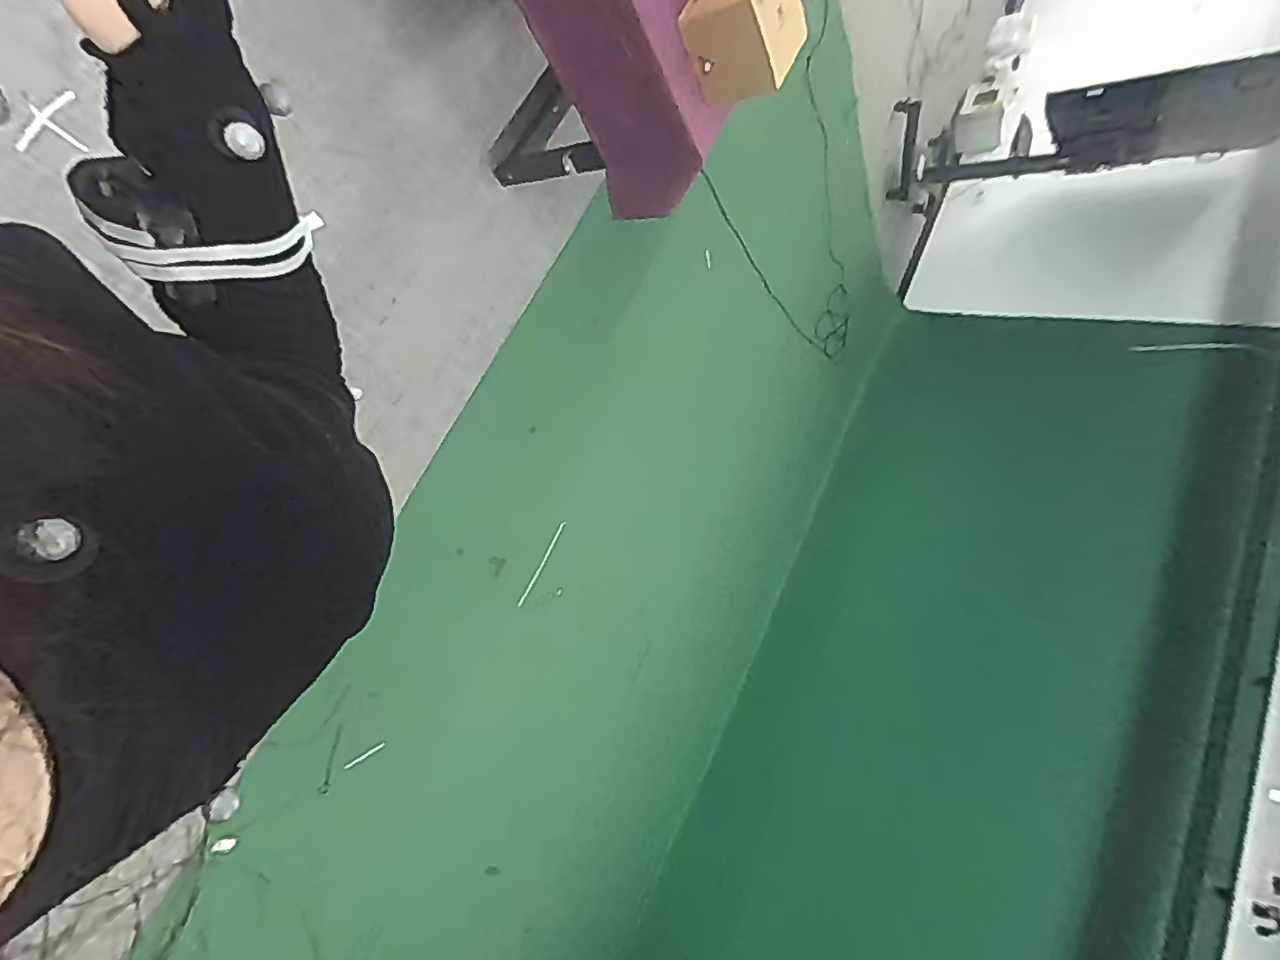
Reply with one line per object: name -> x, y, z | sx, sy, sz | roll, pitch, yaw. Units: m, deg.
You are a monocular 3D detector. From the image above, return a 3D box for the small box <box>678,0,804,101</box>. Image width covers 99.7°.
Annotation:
small box -> 0.205, -0.907, 1.092 | 0.179, 0.176, 0.168 | 42, 69, -50
